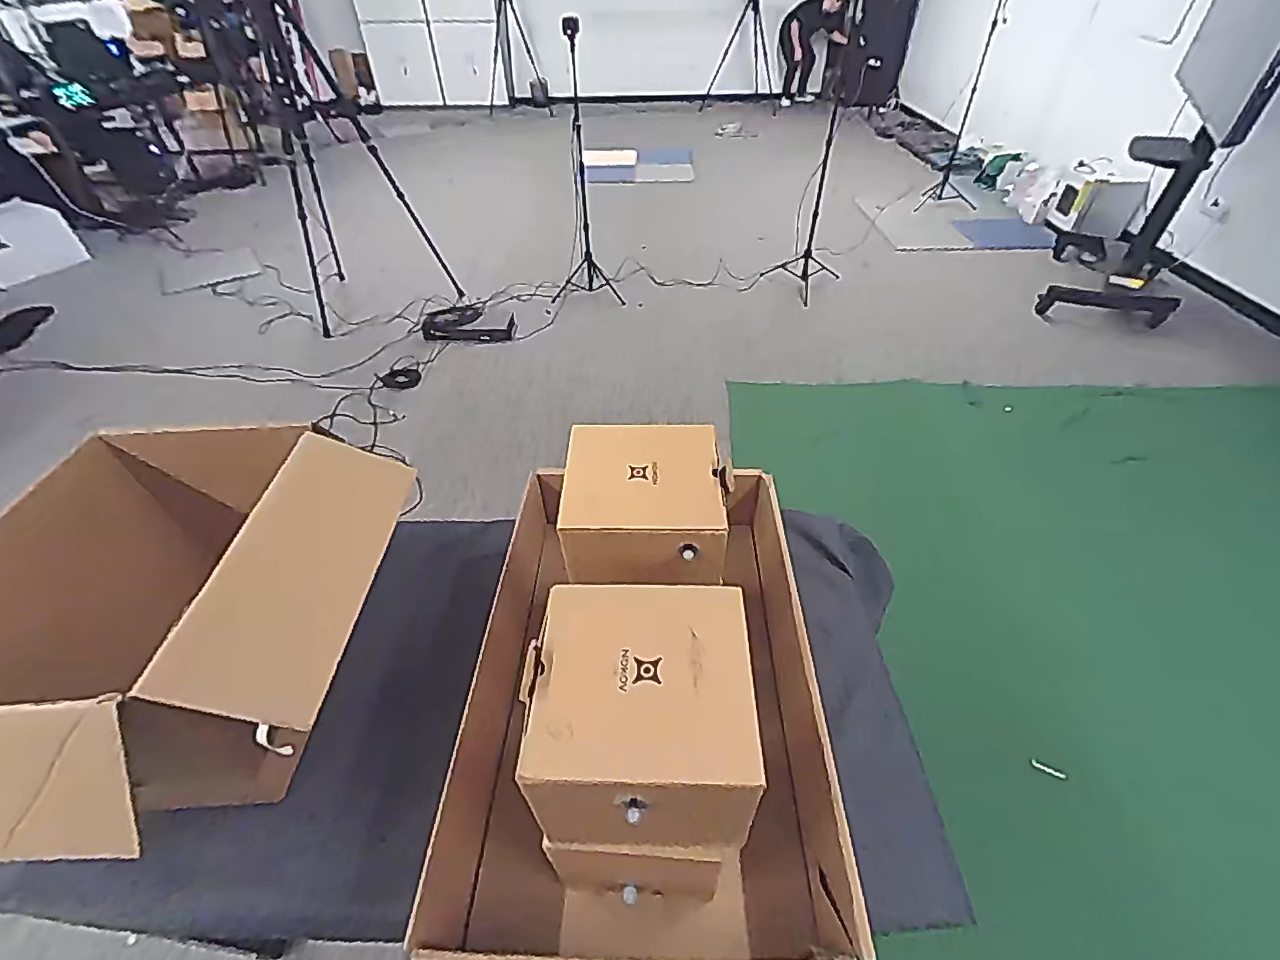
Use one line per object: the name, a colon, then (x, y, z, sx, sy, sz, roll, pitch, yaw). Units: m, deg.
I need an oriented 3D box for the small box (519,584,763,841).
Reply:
small box: (0.005, 0.211, 0.489, 0.179, 0.176, 0.168, 0, 44, 2)

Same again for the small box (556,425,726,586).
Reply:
small box: (0.004, 0.049, 0.658, 0.179, 0.176, 0.168, 0, 46, 1)
